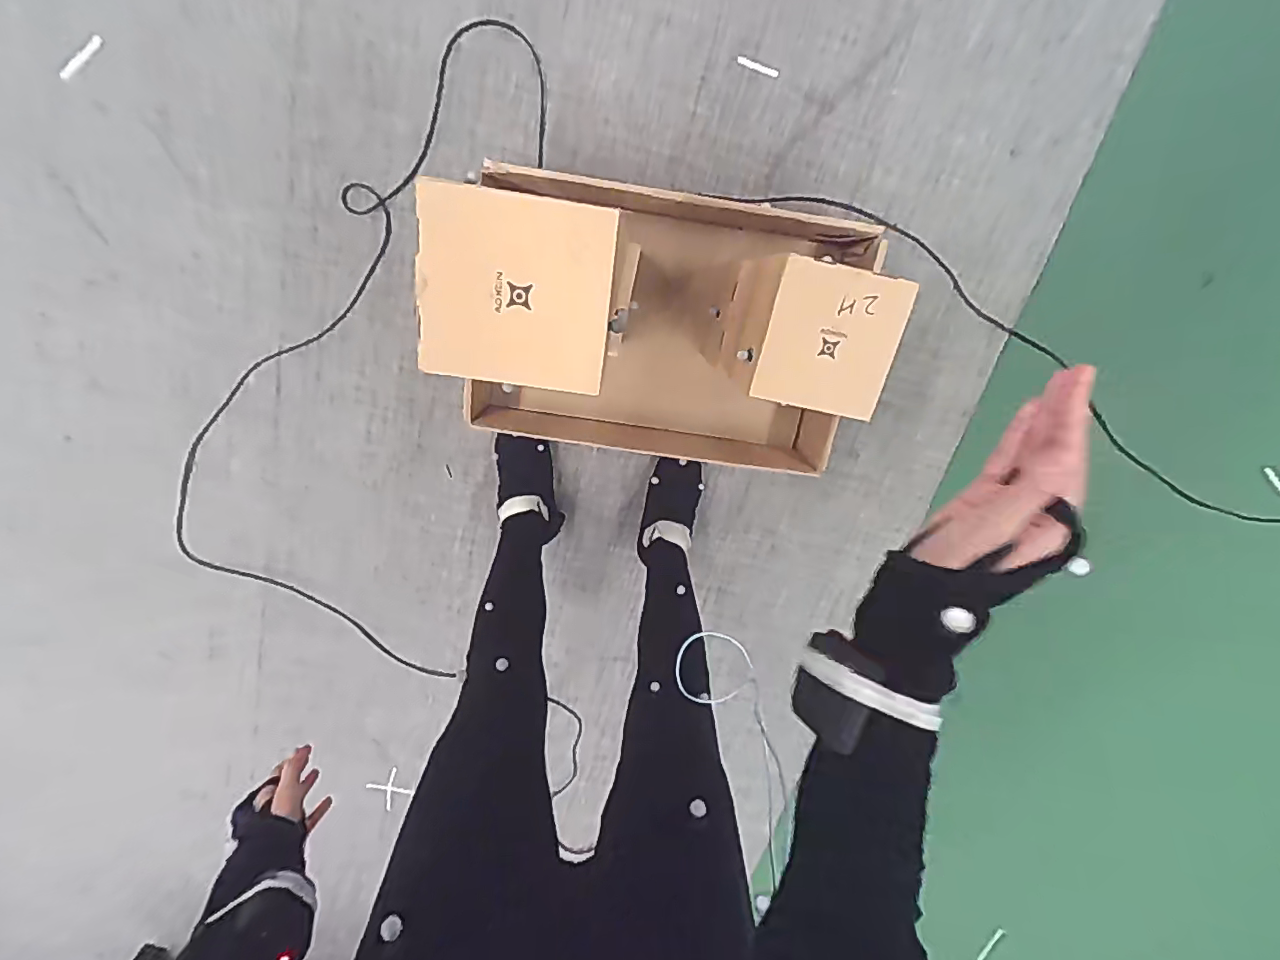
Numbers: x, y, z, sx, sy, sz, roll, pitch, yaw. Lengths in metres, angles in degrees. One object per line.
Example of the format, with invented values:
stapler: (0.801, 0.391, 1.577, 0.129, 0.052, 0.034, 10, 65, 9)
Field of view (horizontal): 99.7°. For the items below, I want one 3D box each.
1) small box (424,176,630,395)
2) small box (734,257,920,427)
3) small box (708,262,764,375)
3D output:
small box: (-0.106, -0.199, 0.562, 0.179, 0.176, 0.168, 9, 111, -3)
small box: (0.237, -0.191, 0.741, 0.168, 0.176, 0.179, 12, 108, -6)
small box: (0.220, -0.250, 0.895, 0.179, 0.176, 0.168, 13, 109, -5)
